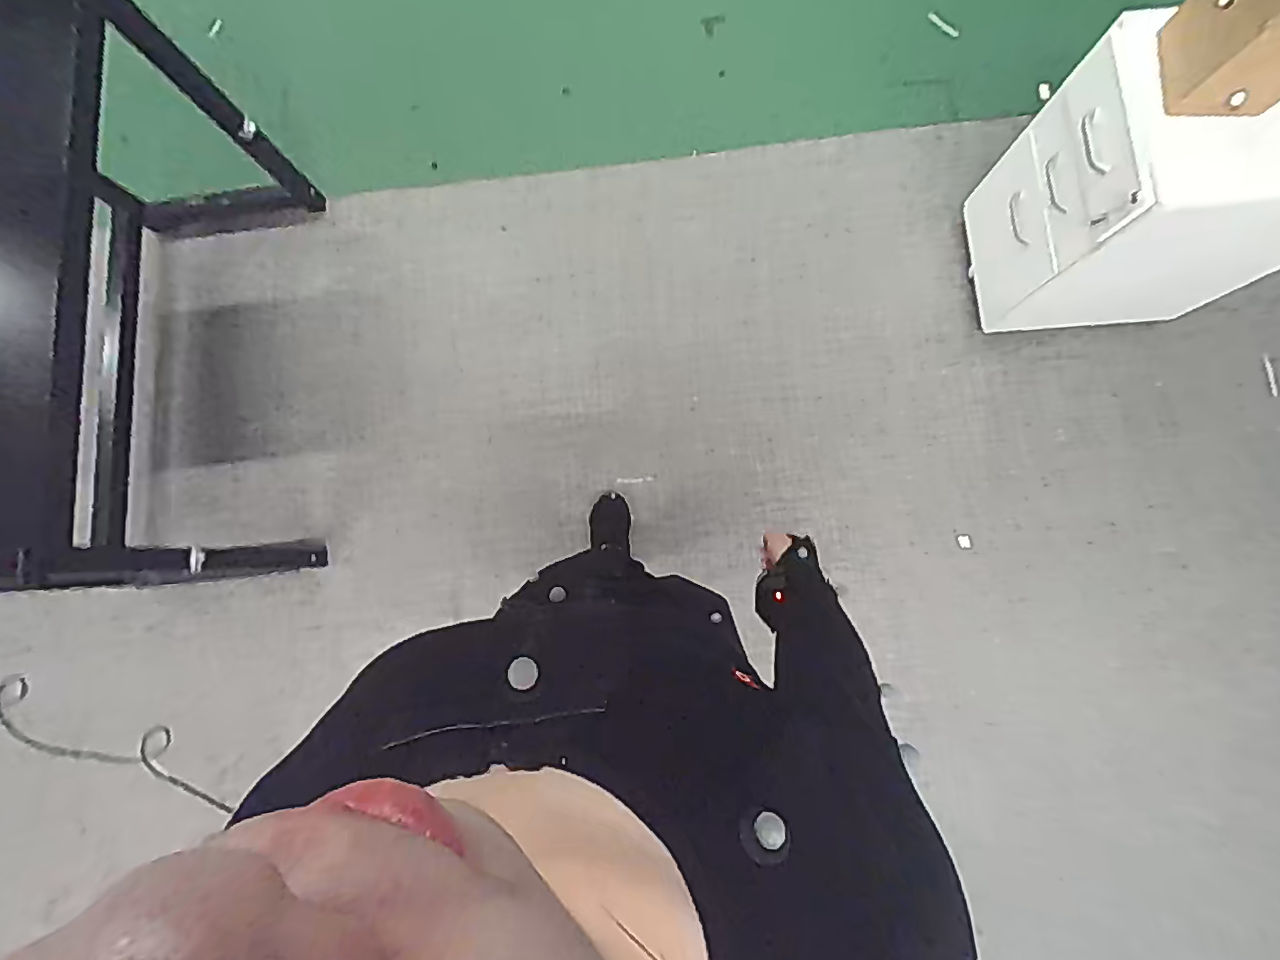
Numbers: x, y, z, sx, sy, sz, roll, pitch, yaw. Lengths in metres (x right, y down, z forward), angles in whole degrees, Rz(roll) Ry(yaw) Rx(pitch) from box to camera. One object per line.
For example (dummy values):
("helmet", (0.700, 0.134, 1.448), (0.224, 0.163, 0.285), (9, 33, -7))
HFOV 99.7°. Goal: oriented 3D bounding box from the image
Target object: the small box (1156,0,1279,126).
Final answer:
("small box", (1.021, -0.738, 0.904), (0.168, 0.176, 0.179), (2, 83, 3))
